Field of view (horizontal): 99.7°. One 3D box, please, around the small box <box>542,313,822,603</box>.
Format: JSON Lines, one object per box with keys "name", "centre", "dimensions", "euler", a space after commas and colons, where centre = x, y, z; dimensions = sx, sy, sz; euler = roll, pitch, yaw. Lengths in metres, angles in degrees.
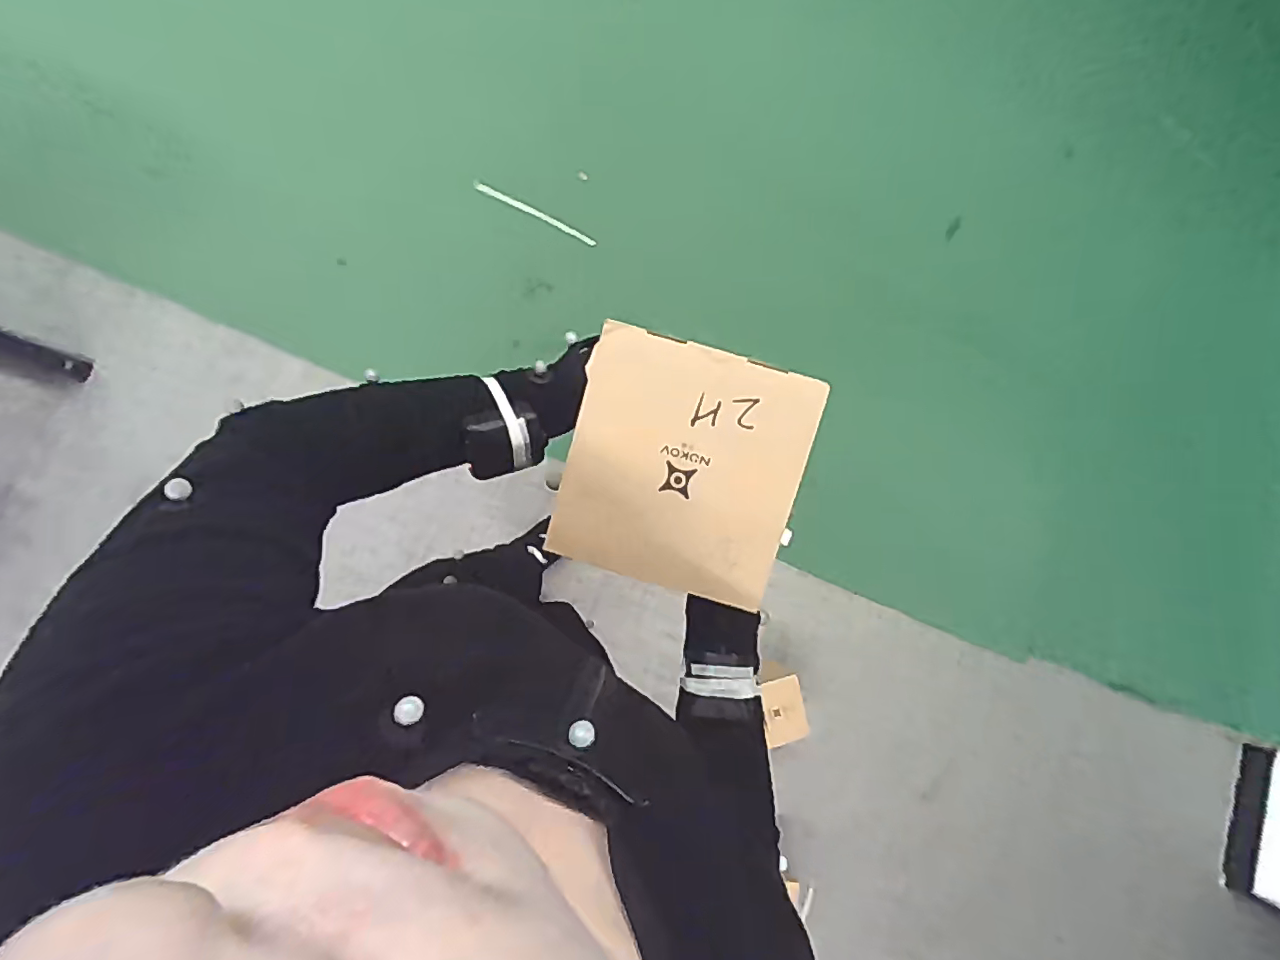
{"name": "small box", "centre": [0.031, -0.022, 0.465], "dimensions": [0.168, 0.176, 0.179], "euler": [16, 97, 0]}
